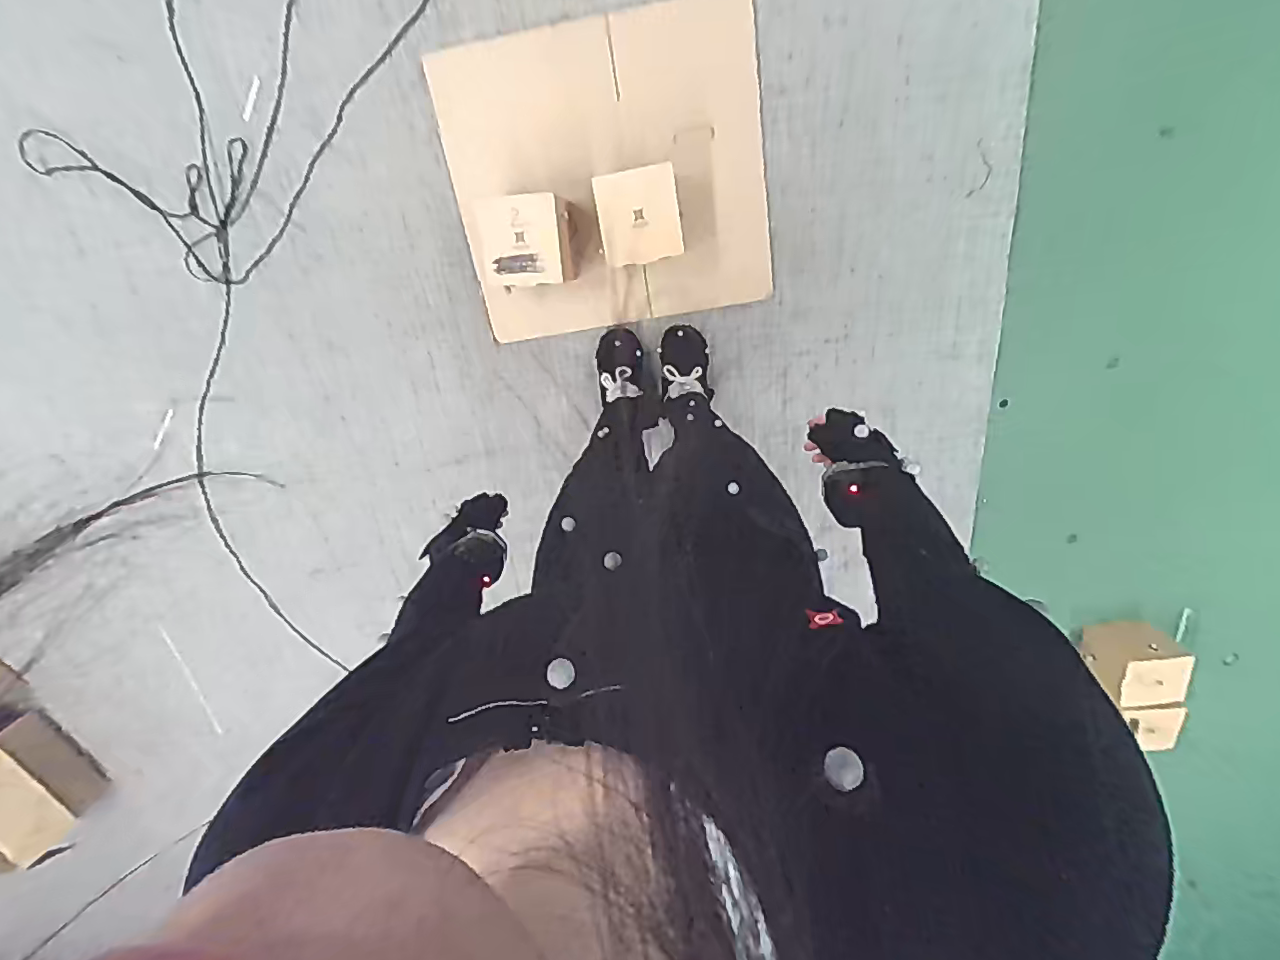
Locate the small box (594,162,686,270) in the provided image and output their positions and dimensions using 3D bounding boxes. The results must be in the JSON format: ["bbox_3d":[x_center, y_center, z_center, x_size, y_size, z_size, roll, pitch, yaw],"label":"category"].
[{"bbox_3d":[0.002,-0.563,1.172,0.168,0.176,0.179,-10,113,5],"label":"small box"}]
